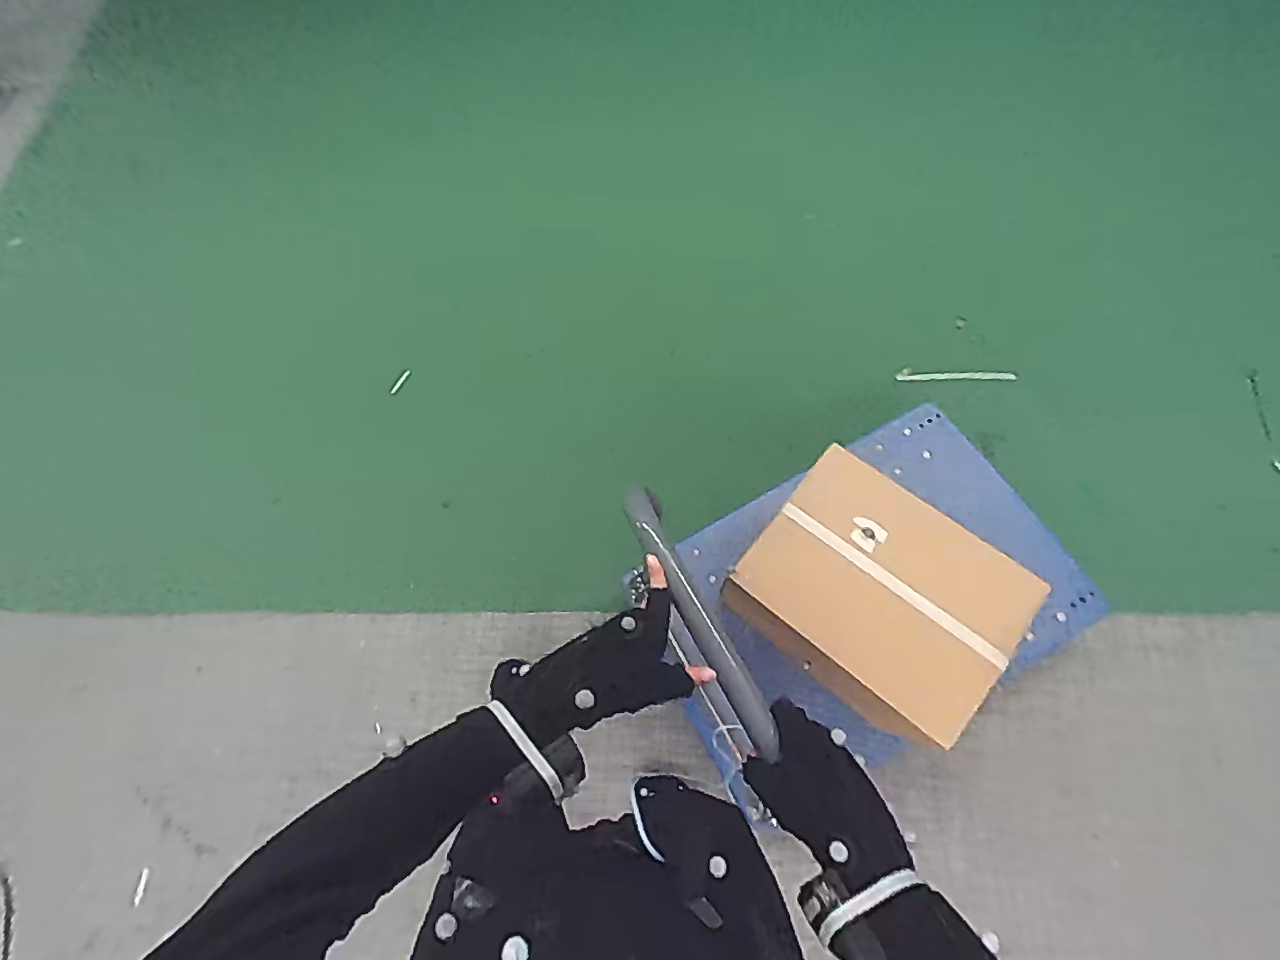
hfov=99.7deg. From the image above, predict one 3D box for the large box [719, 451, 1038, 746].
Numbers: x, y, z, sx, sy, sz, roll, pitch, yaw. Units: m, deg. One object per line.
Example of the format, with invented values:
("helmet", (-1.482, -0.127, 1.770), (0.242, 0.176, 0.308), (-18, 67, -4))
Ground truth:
("large box", (0.402, 0.220, 1.019), (0.408, 0.320, 0.320), (38, 77, 17))
